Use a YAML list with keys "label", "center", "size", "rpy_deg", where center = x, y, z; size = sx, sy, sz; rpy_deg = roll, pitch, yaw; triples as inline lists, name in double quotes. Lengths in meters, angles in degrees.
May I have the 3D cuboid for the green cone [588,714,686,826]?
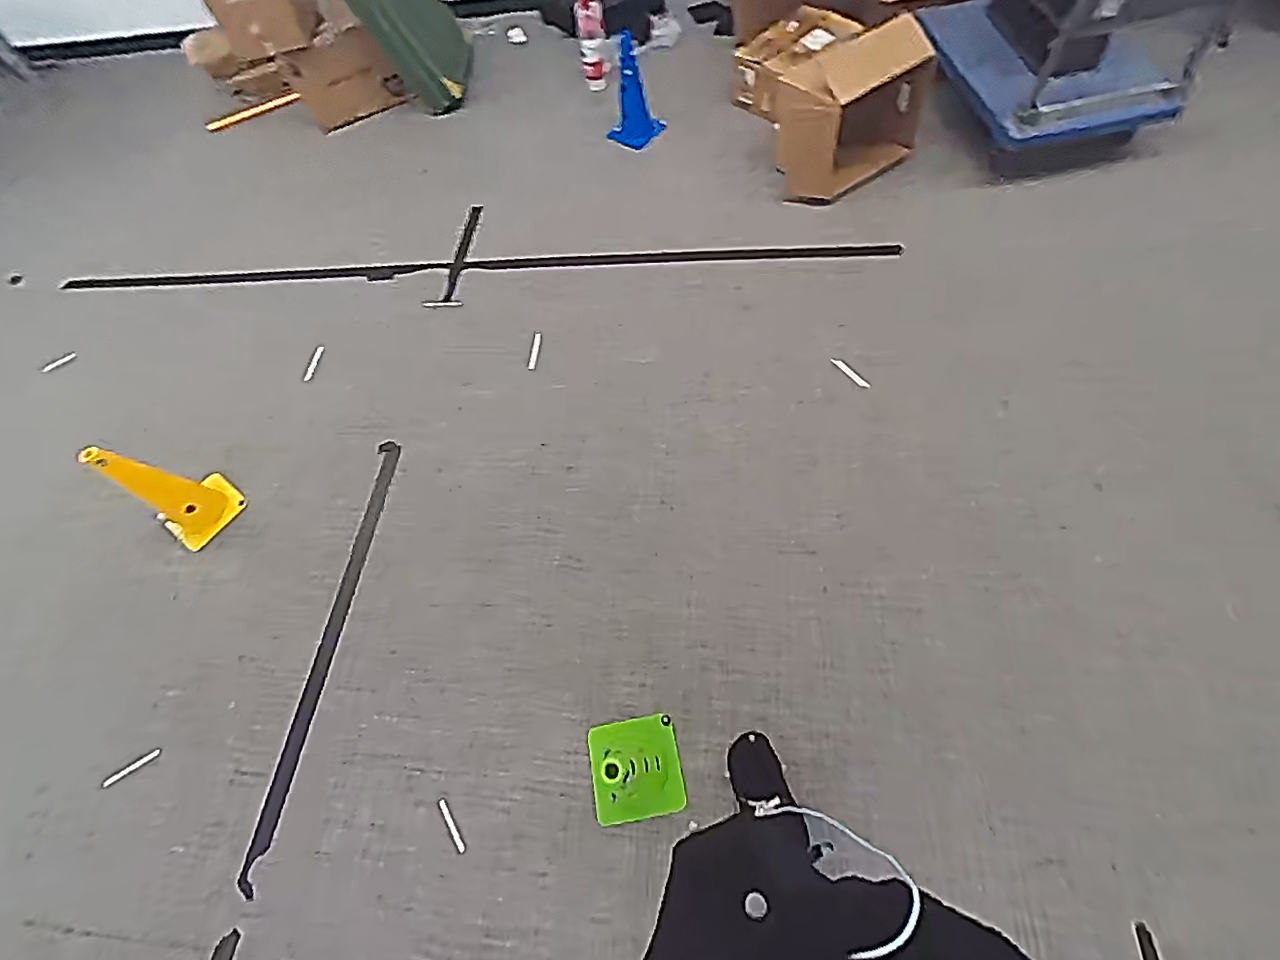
- label: "green cone"
  center: [-0.032, 0.574, 1.063]
  size: [0.200, 0.368, 0.202]
  rpy_deg: [-13, 63, 2]
